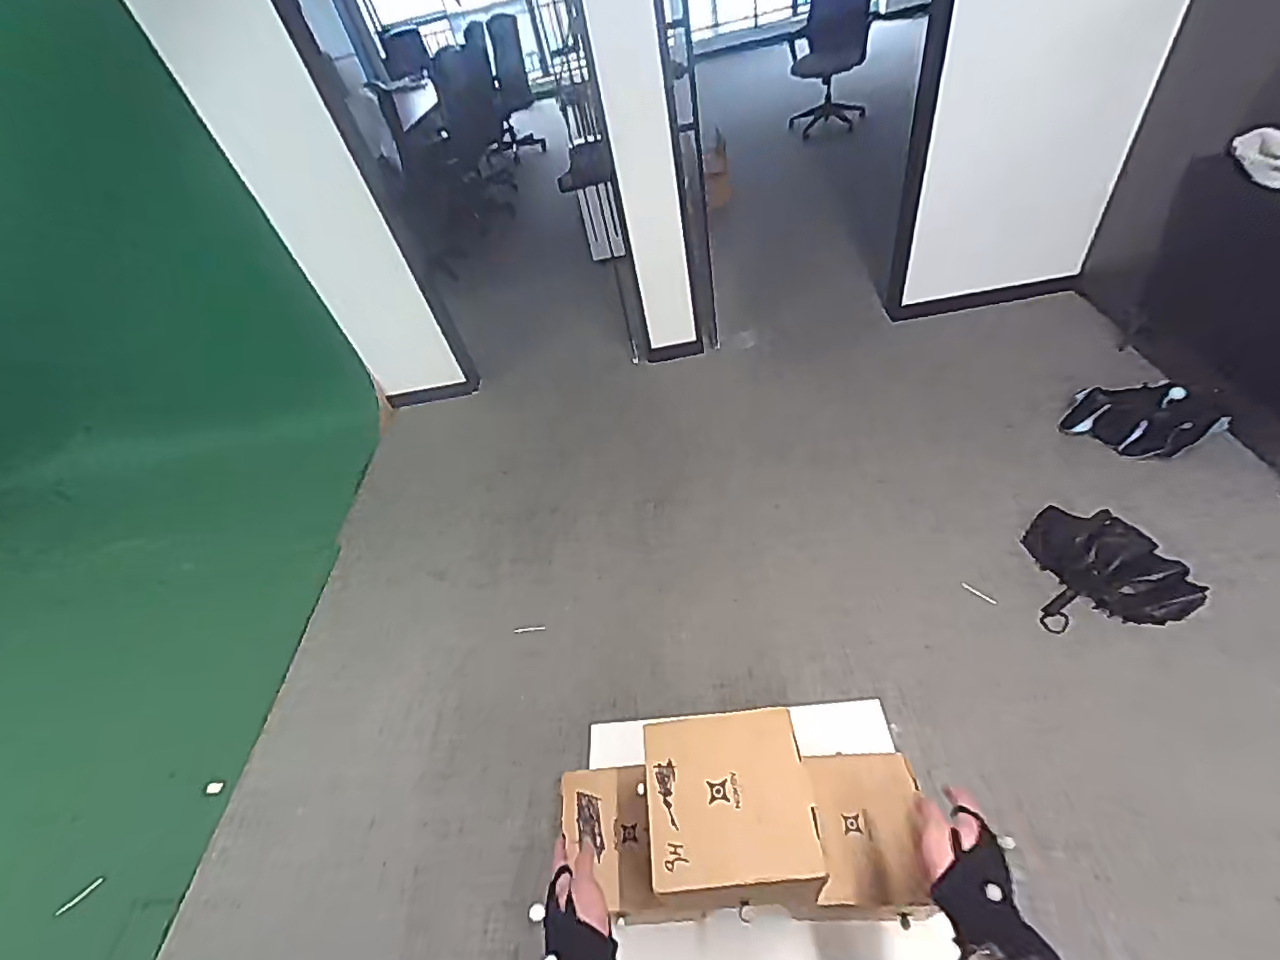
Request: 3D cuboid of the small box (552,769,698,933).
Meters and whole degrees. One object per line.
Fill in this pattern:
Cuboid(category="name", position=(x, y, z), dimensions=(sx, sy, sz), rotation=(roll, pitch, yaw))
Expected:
Cuboid(category="small box", position=(-0.012, 0.525, 0.765), dimensions=(0.179, 0.176, 0.168), rotation=(-7, 46, 5))

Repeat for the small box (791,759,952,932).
Cuboid(category="small box", position=(0.282, 0.492, 0.727), dimensions=(0.179, 0.176, 0.168), rotation=(-8, 44, 9))

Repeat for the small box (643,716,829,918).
Cuboid(category="small box", position=(0.103, 0.396, 0.633), dimensions=(0.179, 0.176, 0.168), rotation=(-8, 45, 4))
